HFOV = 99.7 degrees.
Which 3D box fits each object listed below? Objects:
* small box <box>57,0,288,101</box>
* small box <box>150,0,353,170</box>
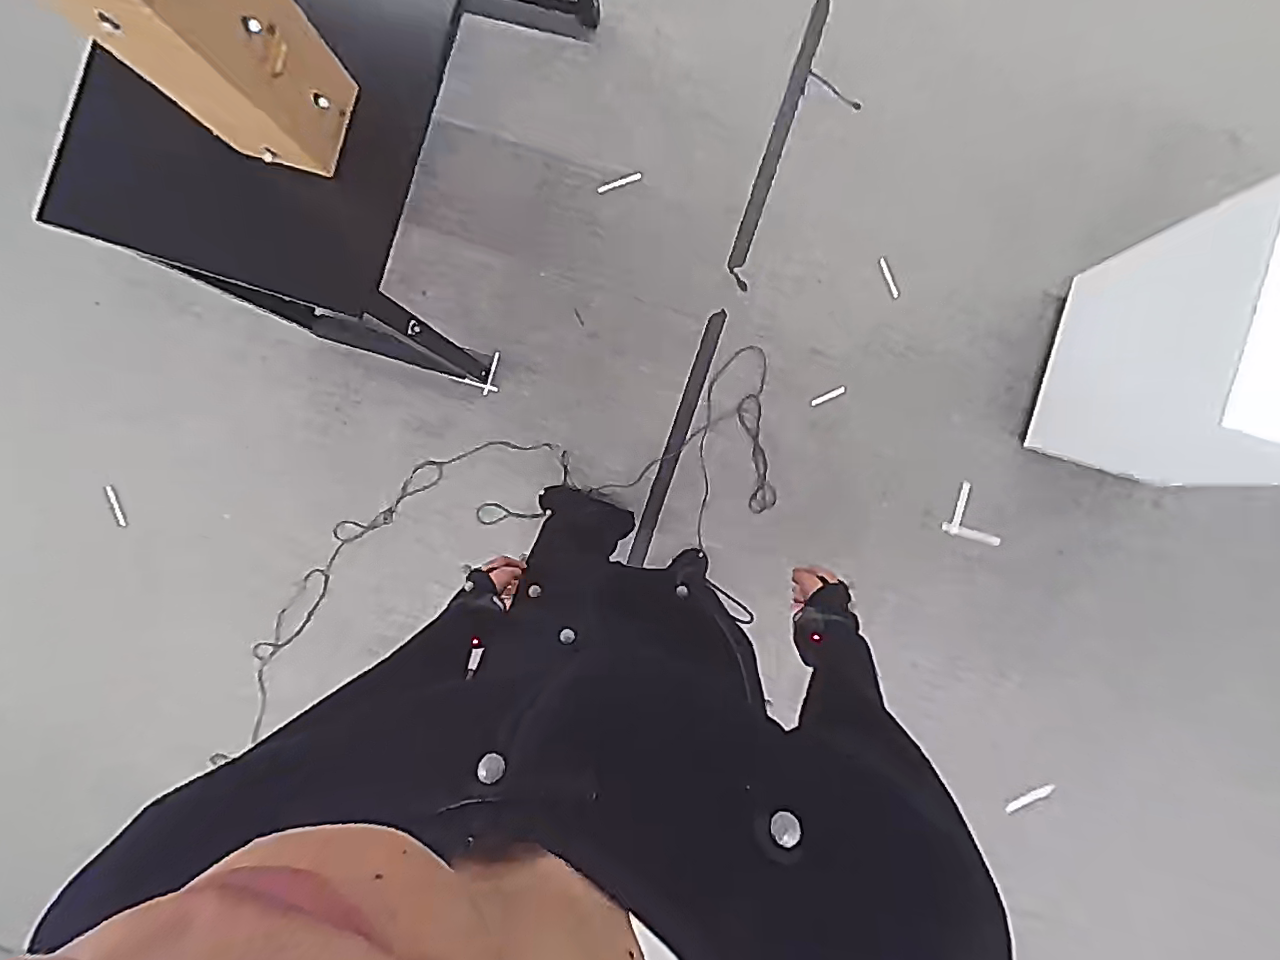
[{"bbox_3d":[-0.595,-0.622,0.677,0.179,0.176,0.168,16,91,2],"label":"small box"},{"bbox_3d":[-0.587,-0.619,0.842,0.179,0.176,0.168,15,90,2],"label":"small box"}]
